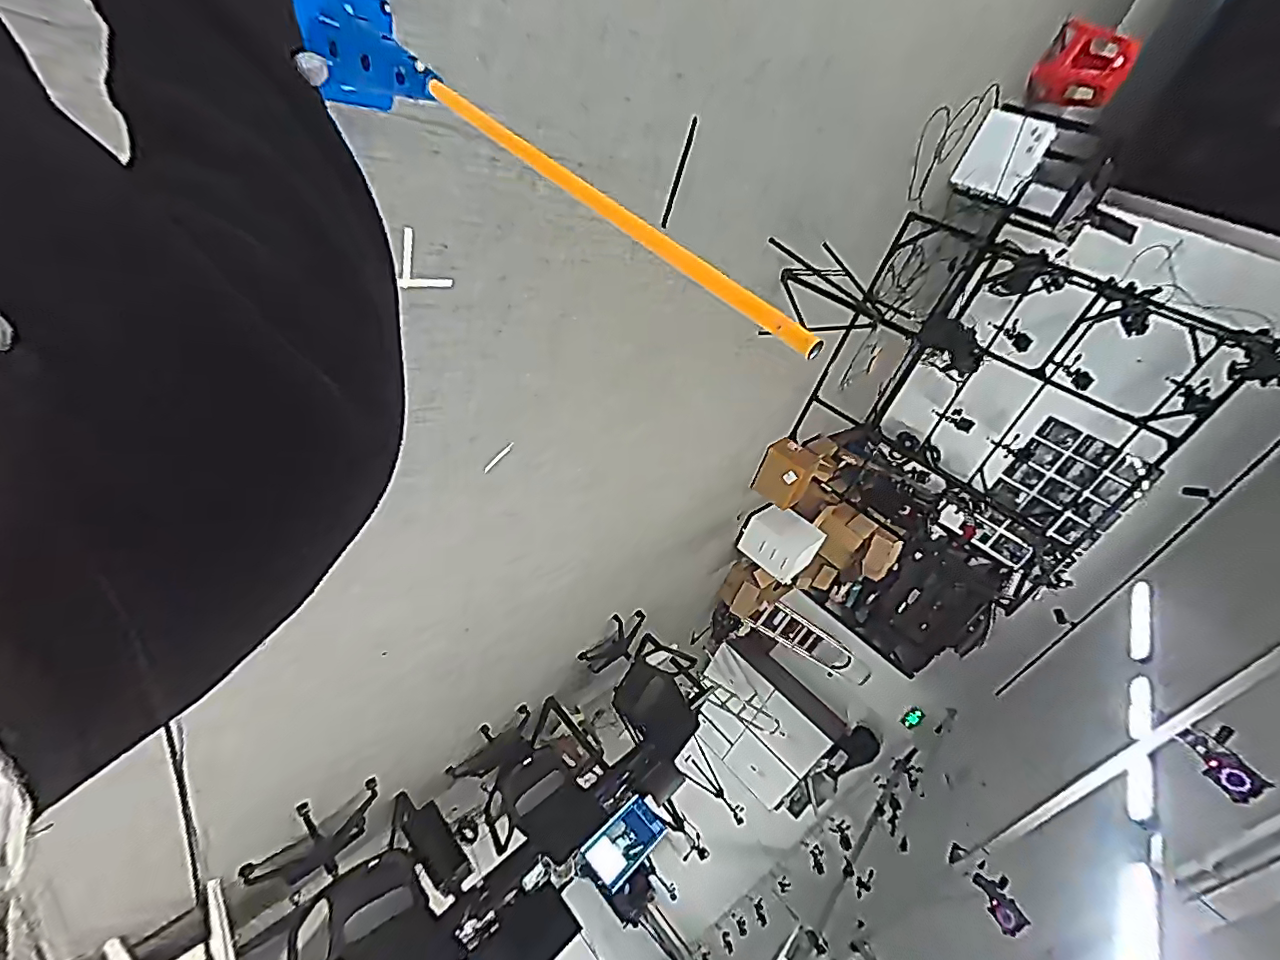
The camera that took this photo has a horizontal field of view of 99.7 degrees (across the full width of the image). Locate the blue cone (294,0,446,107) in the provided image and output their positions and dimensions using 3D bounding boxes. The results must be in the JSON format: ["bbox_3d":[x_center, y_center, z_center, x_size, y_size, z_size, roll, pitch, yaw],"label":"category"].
[{"bbox_3d":[-0.482,-0.793,1.027,0.193,0.380,0.192,-22,141,-44],"label":"blue cone"}]
